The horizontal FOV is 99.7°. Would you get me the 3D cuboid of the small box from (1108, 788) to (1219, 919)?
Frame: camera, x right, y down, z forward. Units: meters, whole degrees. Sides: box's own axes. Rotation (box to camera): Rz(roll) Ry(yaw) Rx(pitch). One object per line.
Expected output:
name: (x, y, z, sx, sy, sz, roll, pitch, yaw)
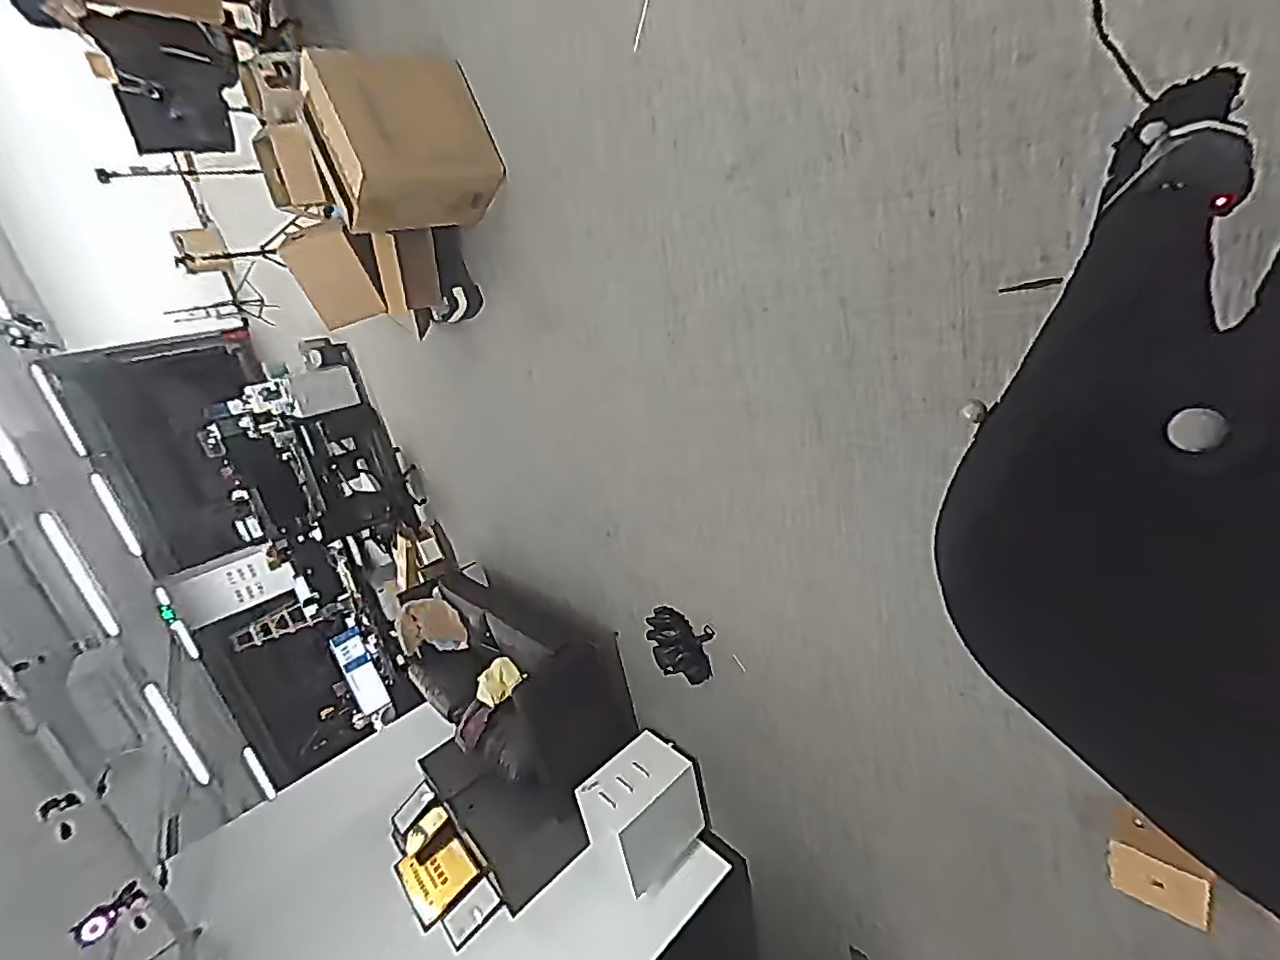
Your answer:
small box: (1.287, 0.903, 1.332, 0.179, 0.176, 0.168, 5, 116, 49)
